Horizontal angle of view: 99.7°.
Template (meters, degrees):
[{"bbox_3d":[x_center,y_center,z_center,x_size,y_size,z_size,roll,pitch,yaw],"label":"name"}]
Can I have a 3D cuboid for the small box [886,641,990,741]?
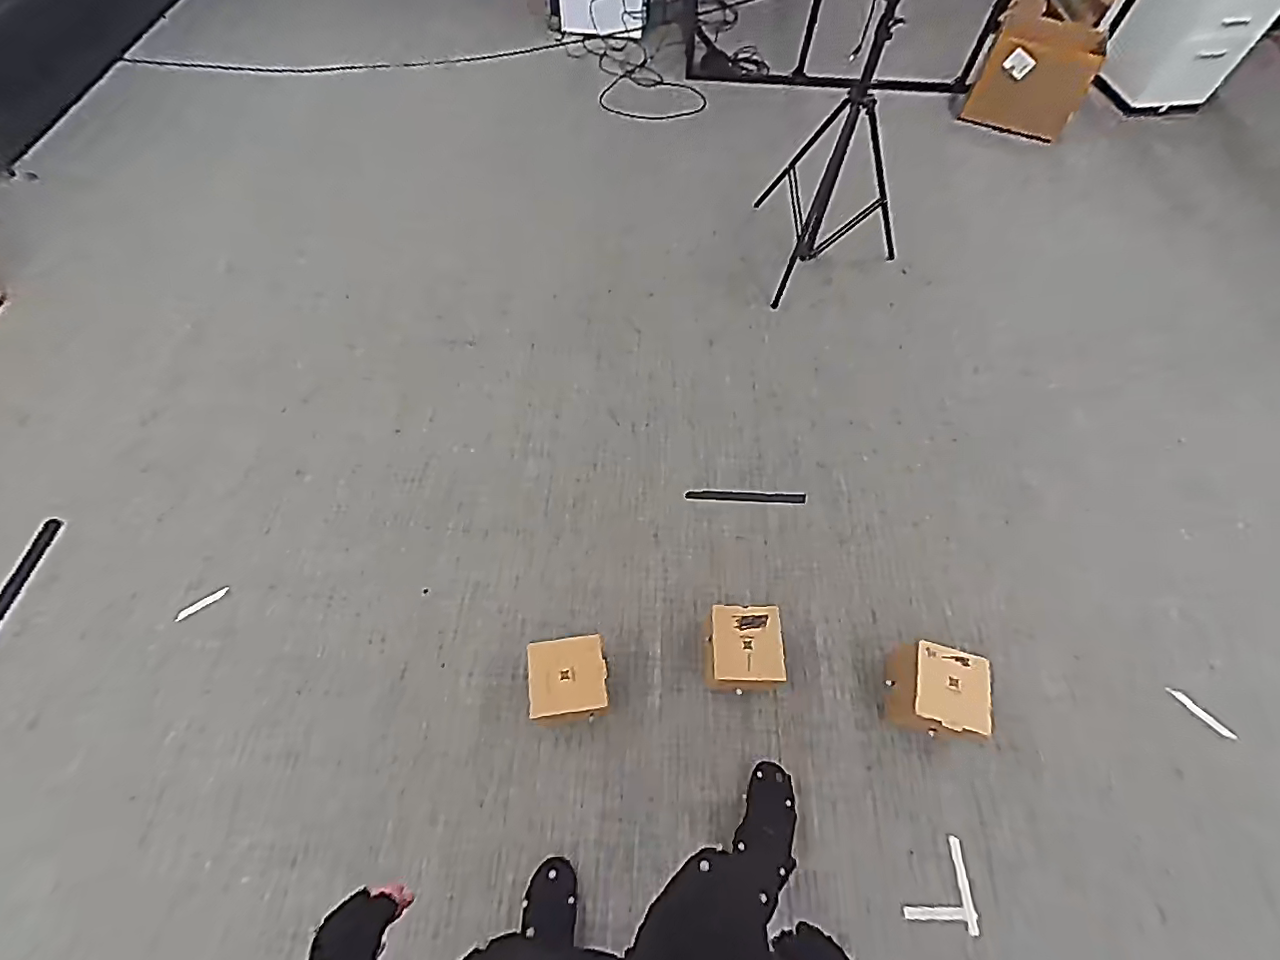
[{"bbox_3d":[0.708,0.510,1.296,0.168,0.176,0.179,16,62,7],"label":"small box"}]

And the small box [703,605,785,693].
[{"bbox_3d":[0.249,0.420,1.334,0.168,0.176,0.179,2,62,0],"label":"small box"}]

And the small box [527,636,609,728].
[{"bbox_3d":[-0.168,0.486,1.292,0.179,0.176,0.168,-8,60,-4],"label":"small box"}]
